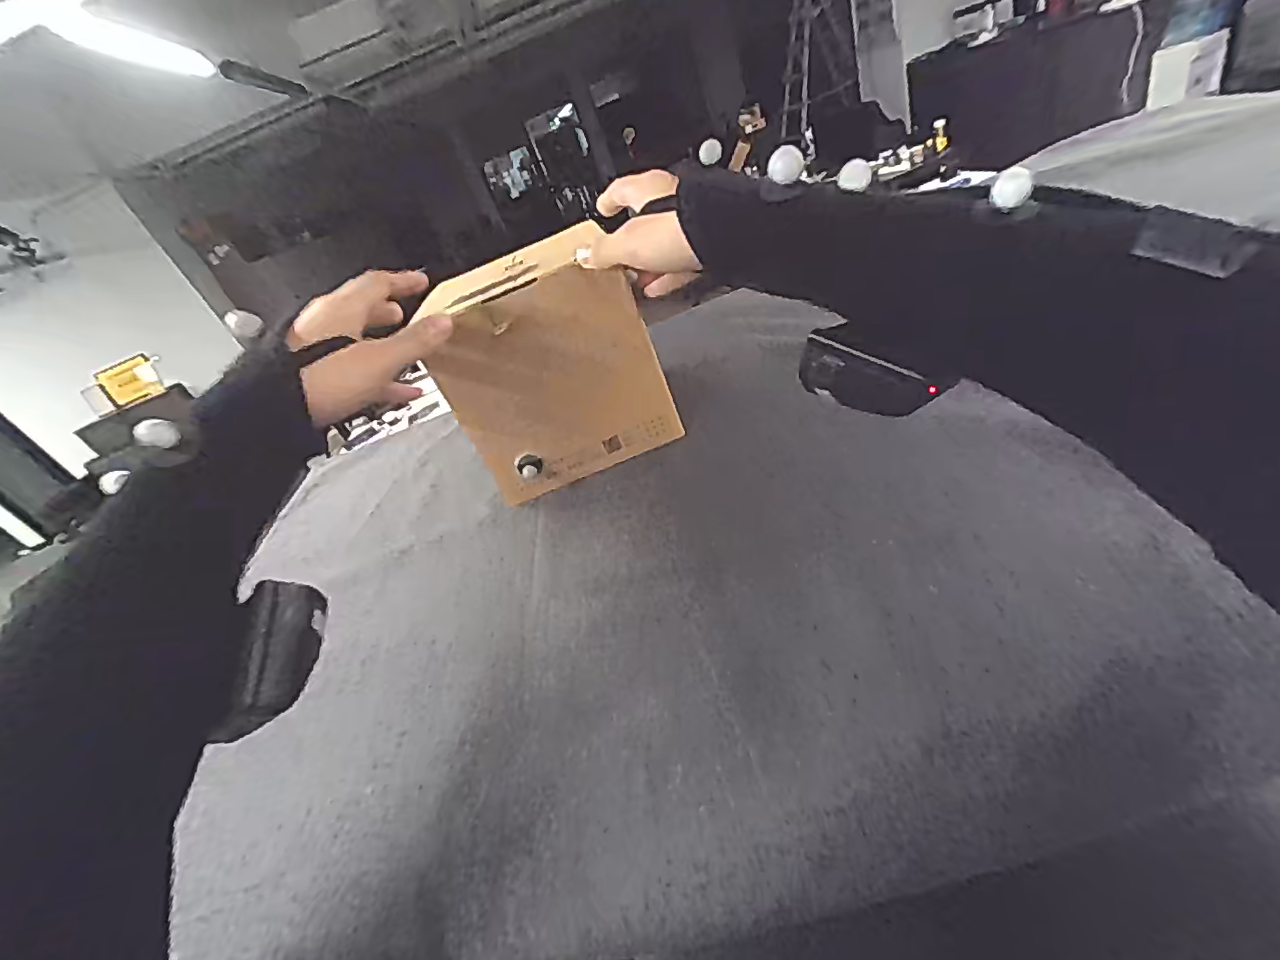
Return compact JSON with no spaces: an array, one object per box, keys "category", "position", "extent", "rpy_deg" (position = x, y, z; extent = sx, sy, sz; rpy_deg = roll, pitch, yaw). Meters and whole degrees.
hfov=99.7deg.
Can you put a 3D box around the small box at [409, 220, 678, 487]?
[{"category":"small box","position":[-0.077,-0.114,0.497],"extent":[0.168,0.176,0.179],"rpy_deg":[-22,31,3]}]
